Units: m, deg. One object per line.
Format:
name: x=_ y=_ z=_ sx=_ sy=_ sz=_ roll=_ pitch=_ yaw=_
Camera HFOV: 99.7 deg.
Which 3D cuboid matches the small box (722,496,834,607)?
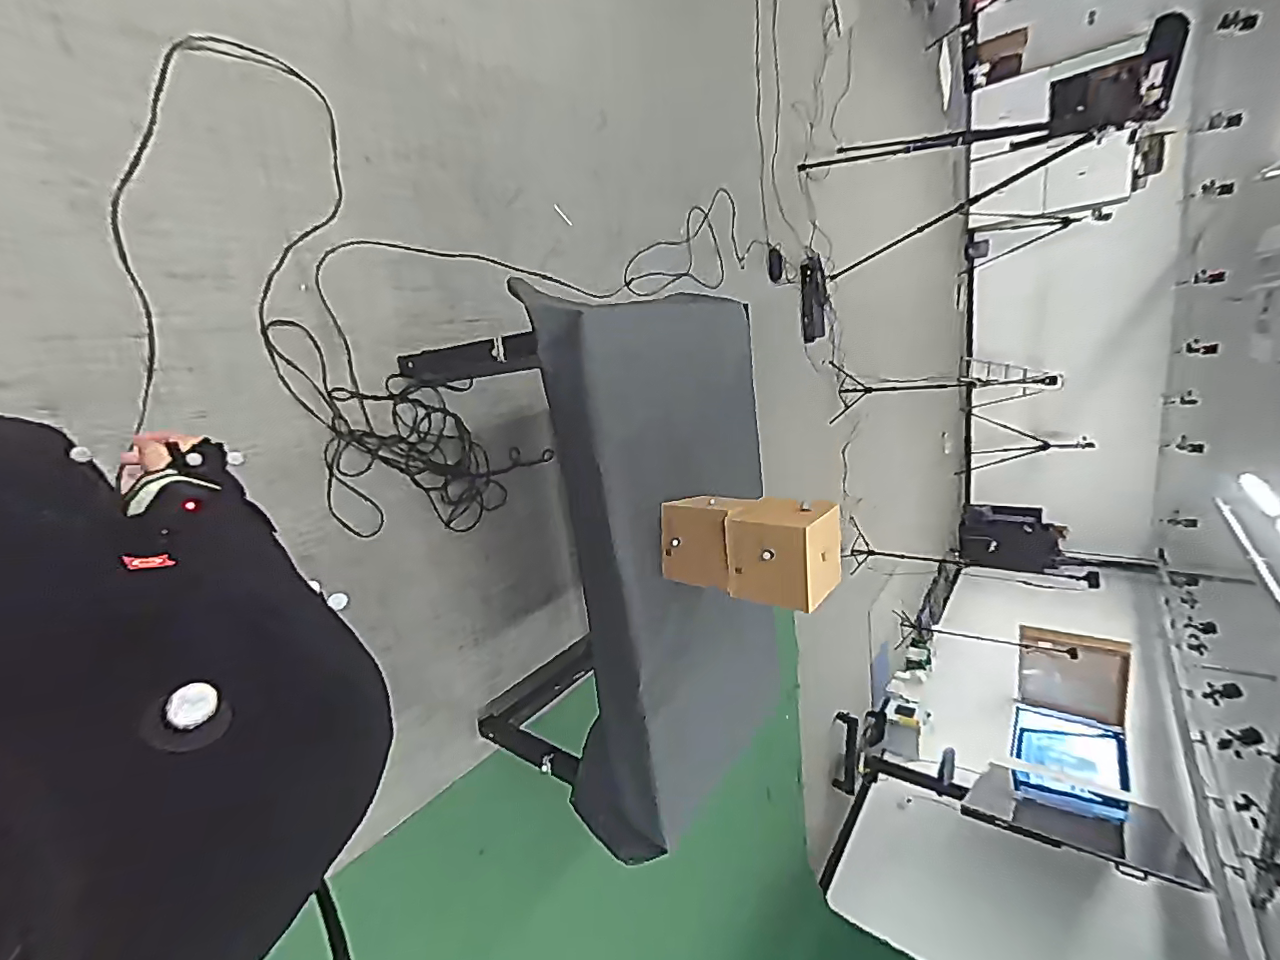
small box: x=0.273 y=0.133 z=1.077 sx=0.179 sy=0.176 sz=0.168 roll=-20 pitch=108 yaw=-50
